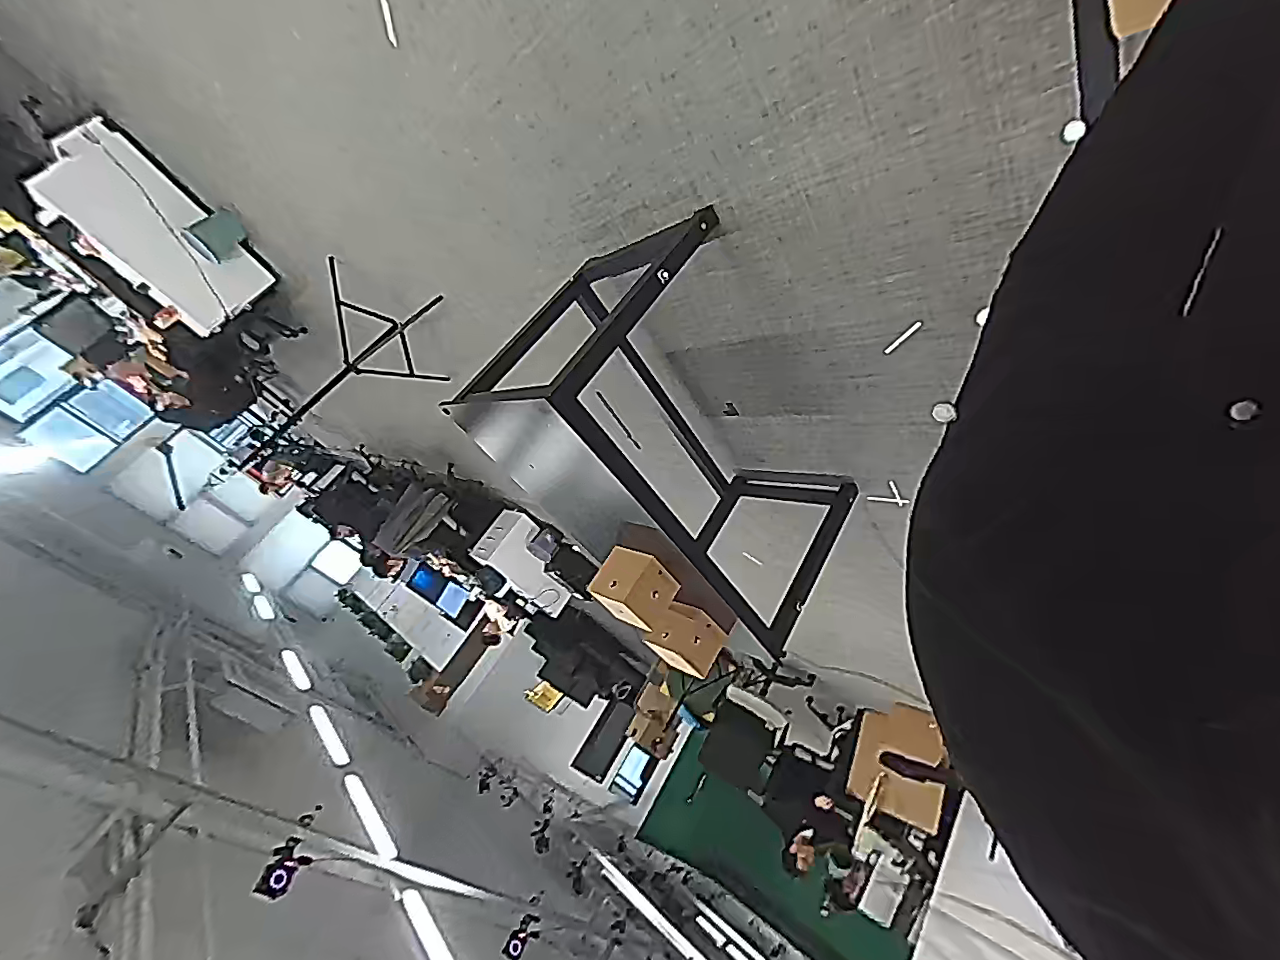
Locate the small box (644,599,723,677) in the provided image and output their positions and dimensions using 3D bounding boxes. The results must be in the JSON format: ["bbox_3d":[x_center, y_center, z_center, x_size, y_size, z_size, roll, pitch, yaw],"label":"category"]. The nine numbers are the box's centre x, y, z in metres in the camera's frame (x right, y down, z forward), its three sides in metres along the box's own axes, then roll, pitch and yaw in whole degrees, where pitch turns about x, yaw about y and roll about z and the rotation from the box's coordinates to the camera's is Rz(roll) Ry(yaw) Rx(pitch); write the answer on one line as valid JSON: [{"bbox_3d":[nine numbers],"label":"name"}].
[{"bbox_3d":[0.154,0.518,1.799,0.168,0.176,0.179,48,155,-27],"label":"small box"}]

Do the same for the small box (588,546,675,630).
[{"bbox_3d":[-0.017,0.321,1.636,0.179,0.176,0.168,8,145,49],"label":"small box"}]
